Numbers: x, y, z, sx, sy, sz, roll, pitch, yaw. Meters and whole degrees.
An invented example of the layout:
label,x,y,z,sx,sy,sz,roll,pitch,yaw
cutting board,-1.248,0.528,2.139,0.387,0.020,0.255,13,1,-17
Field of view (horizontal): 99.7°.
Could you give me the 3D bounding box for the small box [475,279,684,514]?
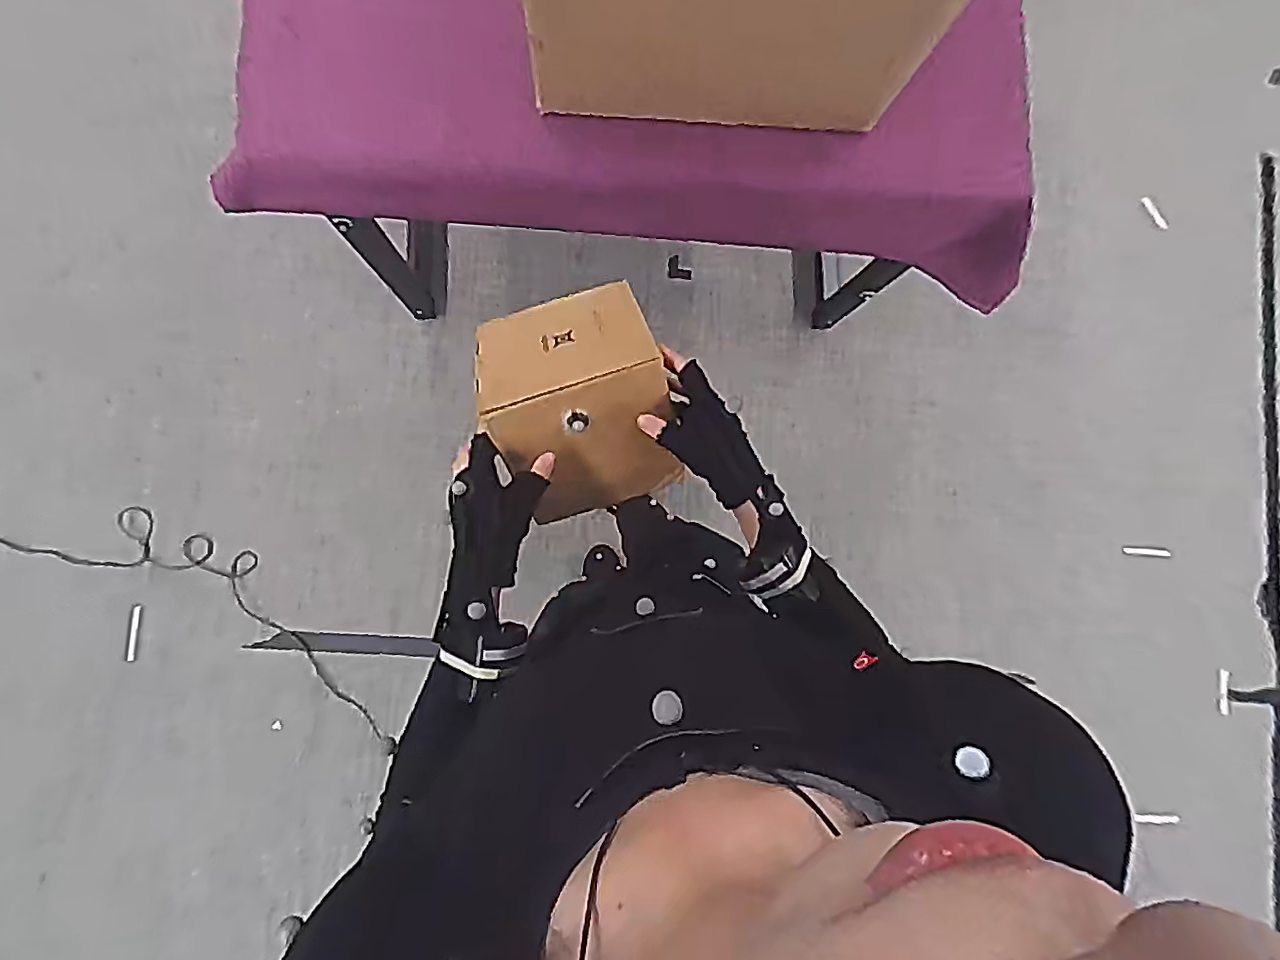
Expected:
label,x,y,z,sx,sy,sz,roll,pitch,yaw
small box,-0.064,-0.087,0.592,0.179,0.176,0.168,-17,46,-1
